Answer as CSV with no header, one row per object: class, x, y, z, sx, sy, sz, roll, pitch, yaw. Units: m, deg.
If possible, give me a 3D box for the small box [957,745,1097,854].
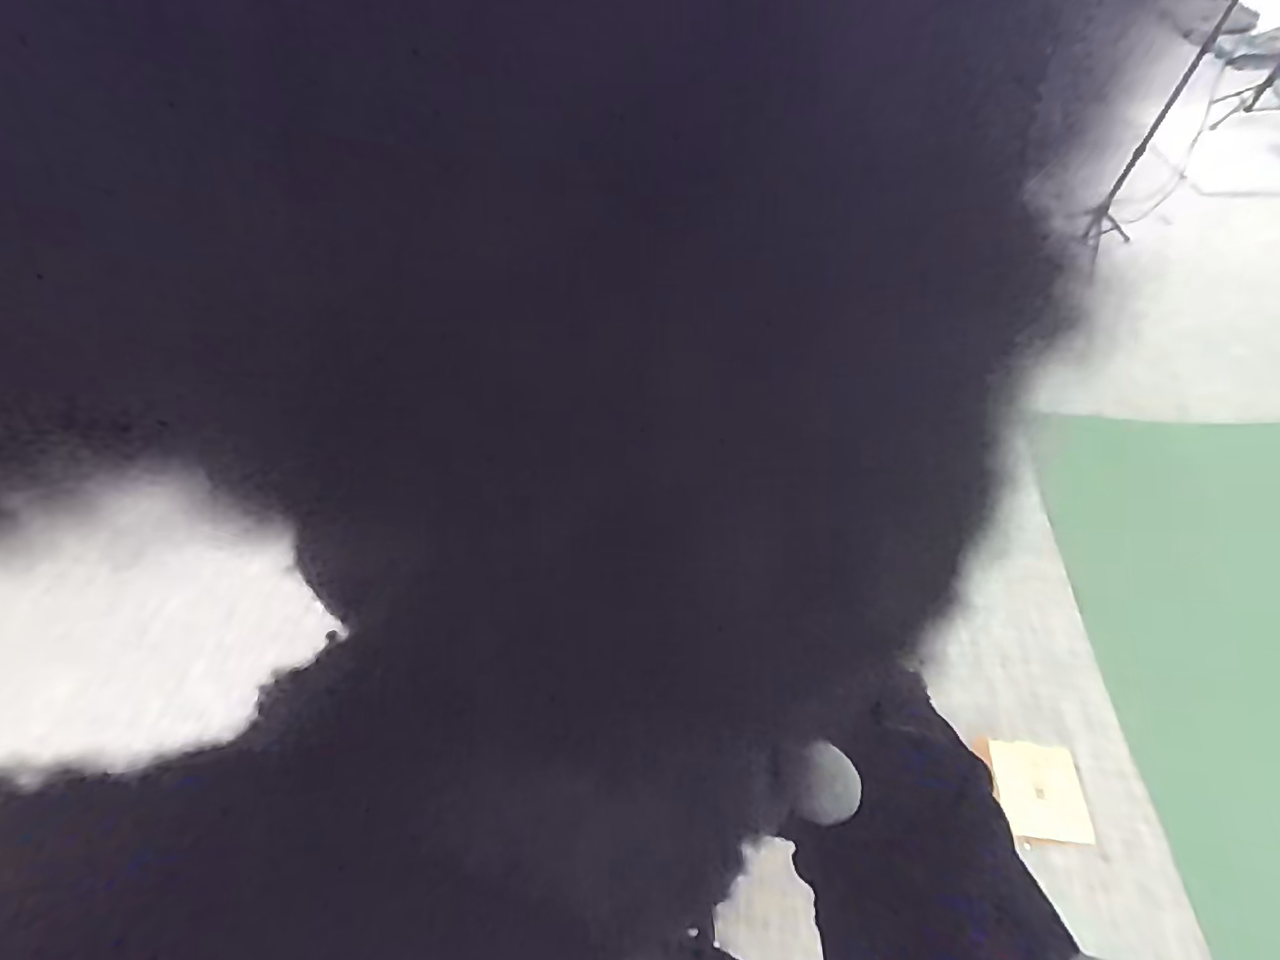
small box,0.816,0.690,1.162,0.168,0.176,0.179,5,53,6
